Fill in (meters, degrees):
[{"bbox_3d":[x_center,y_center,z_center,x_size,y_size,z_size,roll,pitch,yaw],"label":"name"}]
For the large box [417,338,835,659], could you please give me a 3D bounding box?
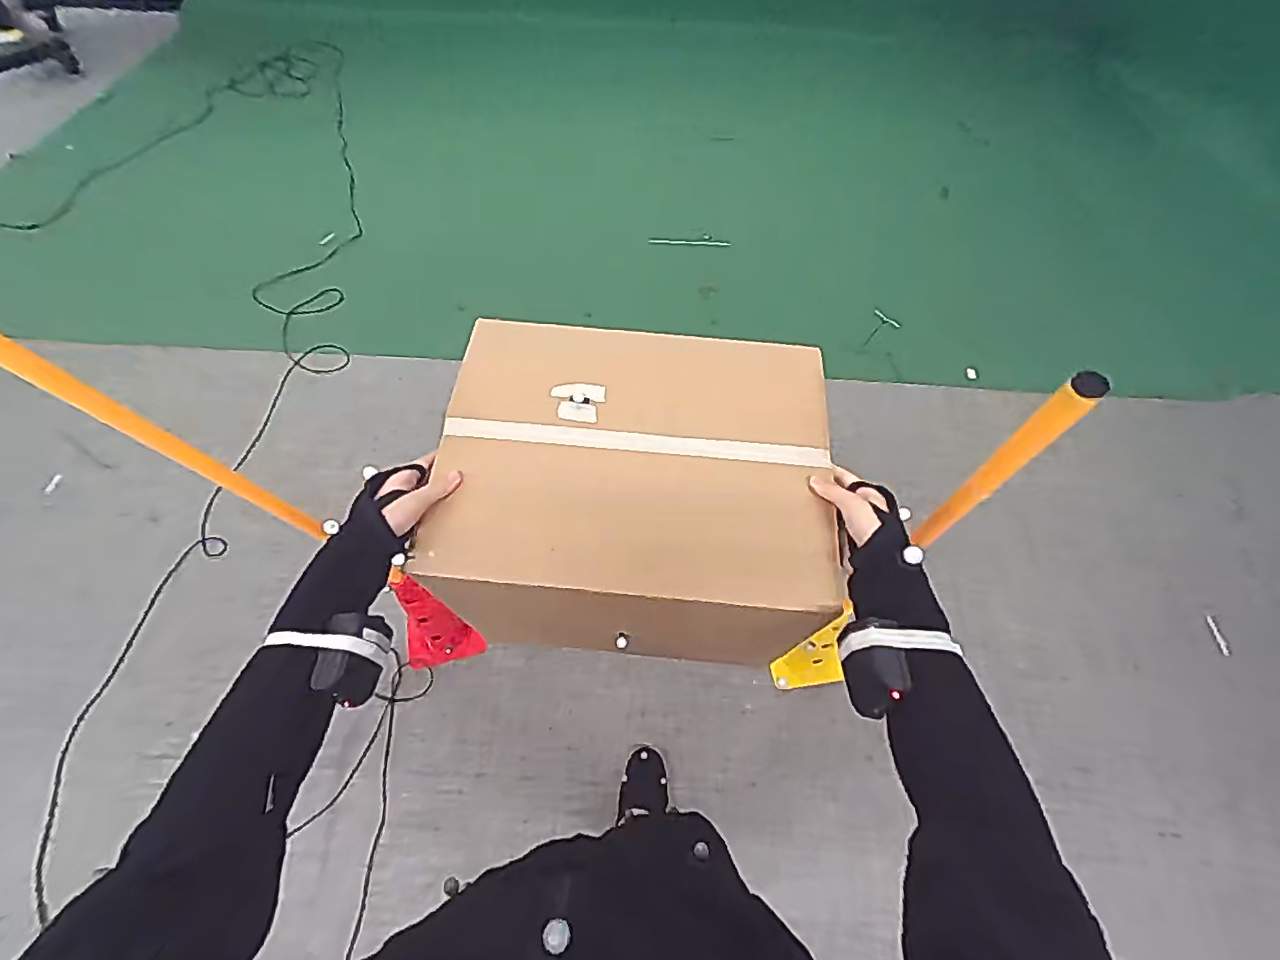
[{"bbox_3d":[-0.004,0.044,0.707,0.408,0.320,0.320,4,62,2],"label":"large box"}]
